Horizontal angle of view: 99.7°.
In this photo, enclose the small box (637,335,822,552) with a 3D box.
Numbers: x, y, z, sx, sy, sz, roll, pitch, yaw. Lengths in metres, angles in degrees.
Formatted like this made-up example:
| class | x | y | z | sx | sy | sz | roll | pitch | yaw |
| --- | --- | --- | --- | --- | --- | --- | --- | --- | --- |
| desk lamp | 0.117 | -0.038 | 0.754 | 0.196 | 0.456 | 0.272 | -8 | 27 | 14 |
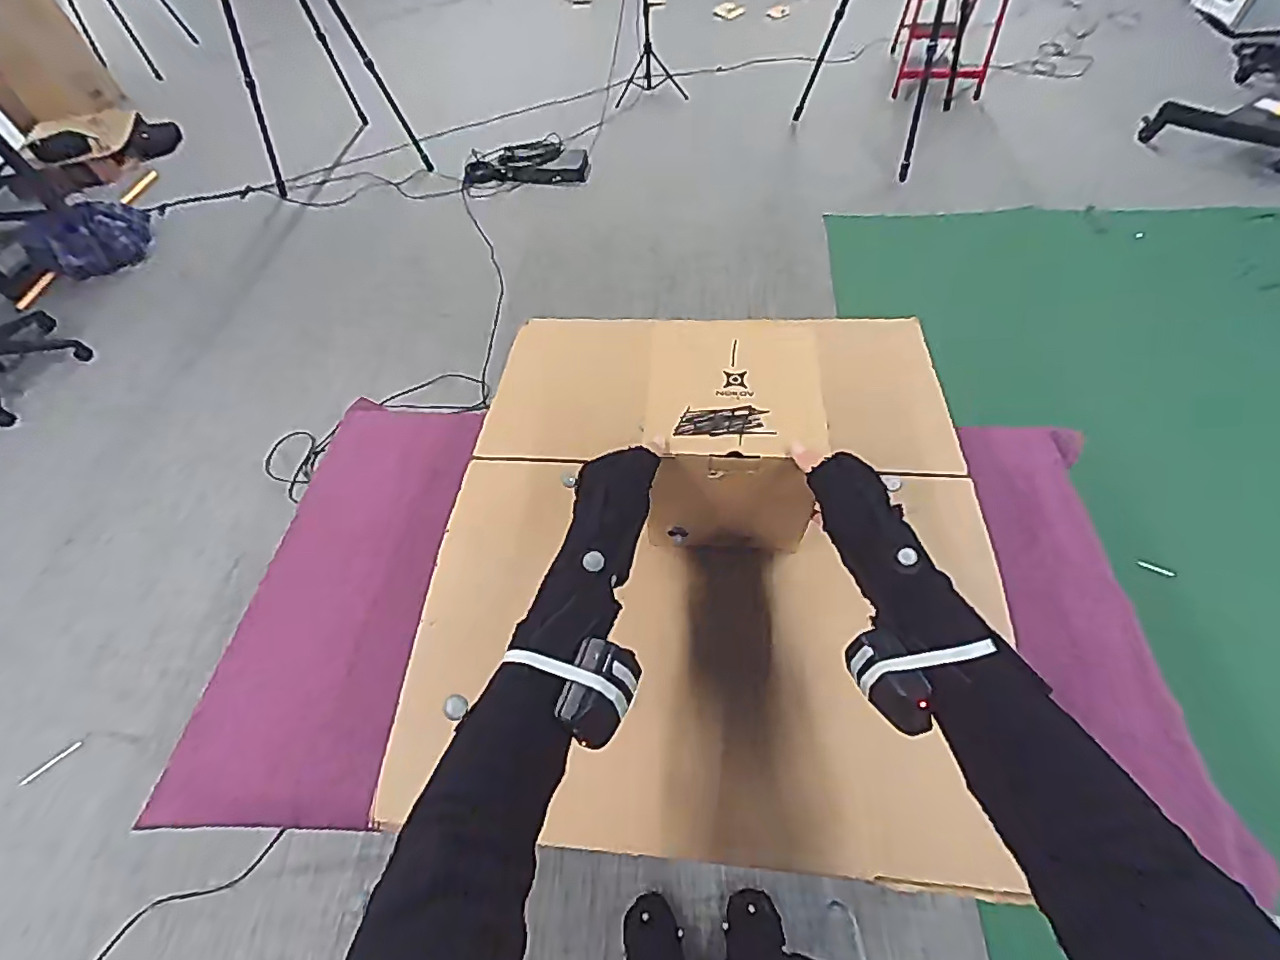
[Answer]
| class | x | y | z | sx | sy | sz | roll | pitch | yaw |
| --- | --- | --- | --- | --- | --- | --- | --- | --- | --- |
| small box | 0.092 | -0.036 | 0.587 | 0.168 | 0.176 | 0.179 | 2 | 54 | 6 |
